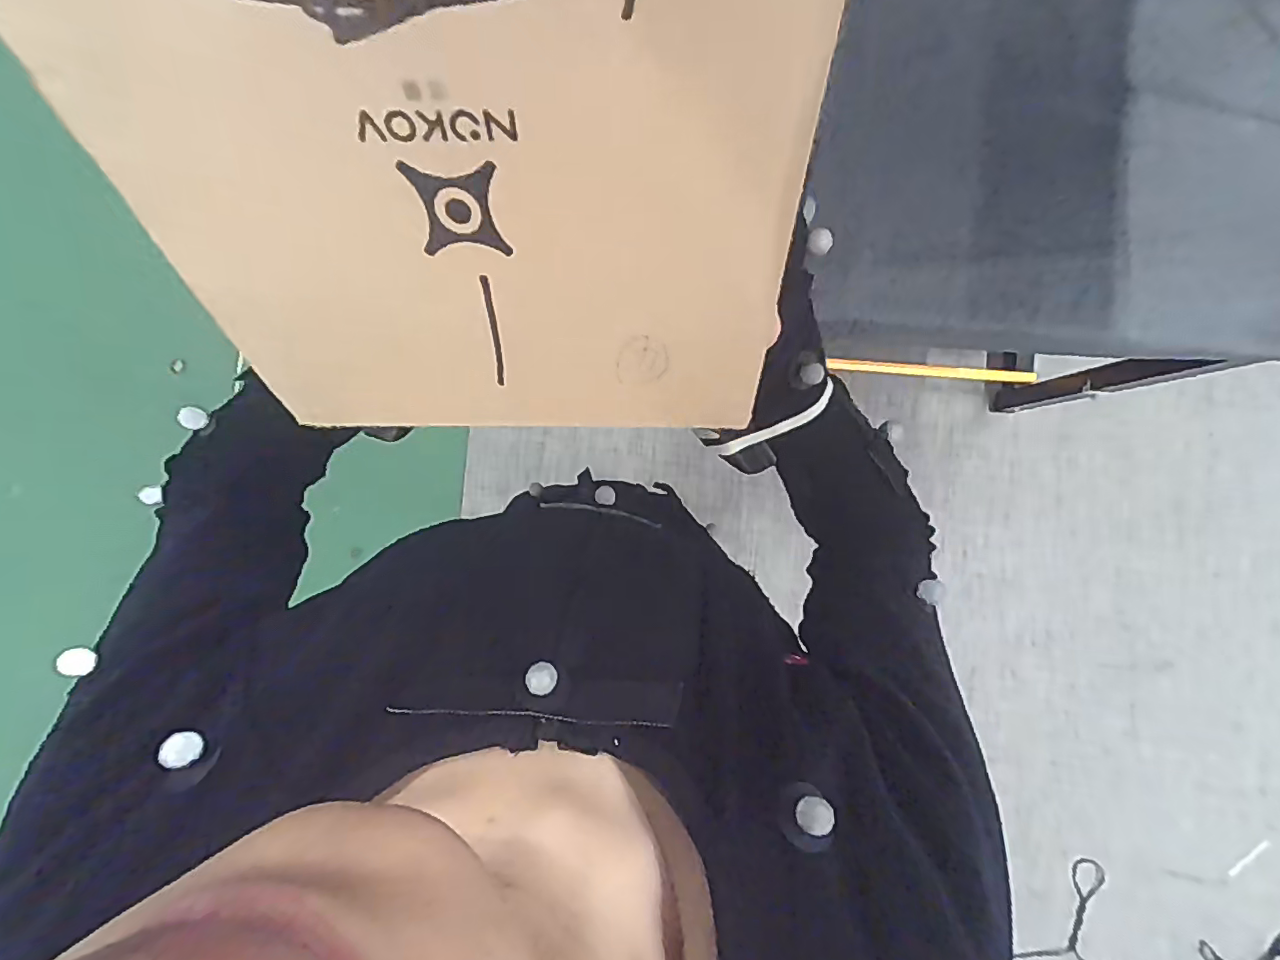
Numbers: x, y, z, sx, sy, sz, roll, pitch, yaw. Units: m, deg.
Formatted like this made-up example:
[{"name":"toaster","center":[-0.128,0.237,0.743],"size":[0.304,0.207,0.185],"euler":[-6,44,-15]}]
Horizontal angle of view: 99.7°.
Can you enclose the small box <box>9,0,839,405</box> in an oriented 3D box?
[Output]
[{"name":"small box","center":[-0.042,-0.144,0.174],"size":[0.168,0.179,0.176],"euler":[1,52,1]}]
